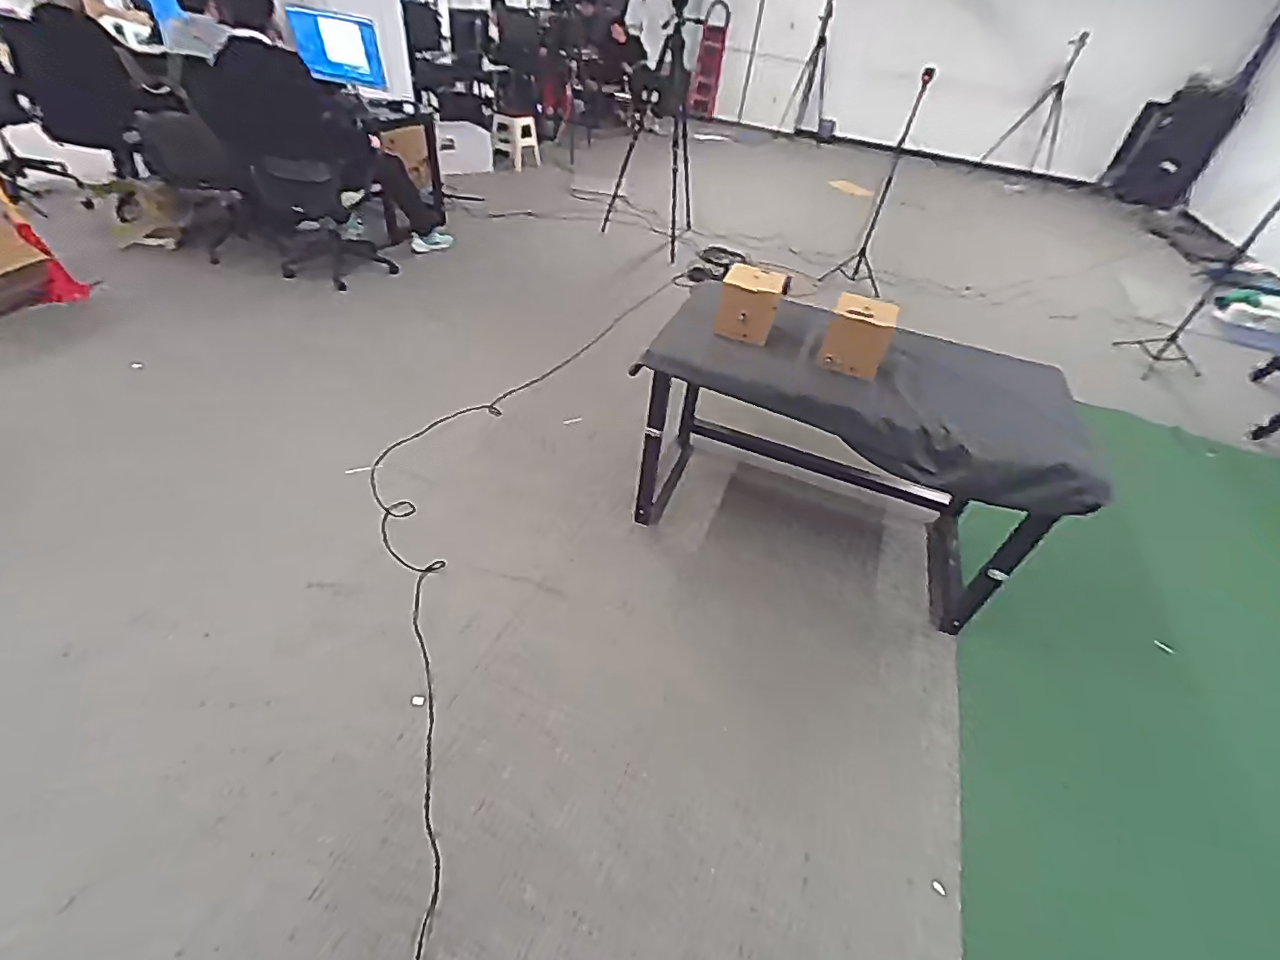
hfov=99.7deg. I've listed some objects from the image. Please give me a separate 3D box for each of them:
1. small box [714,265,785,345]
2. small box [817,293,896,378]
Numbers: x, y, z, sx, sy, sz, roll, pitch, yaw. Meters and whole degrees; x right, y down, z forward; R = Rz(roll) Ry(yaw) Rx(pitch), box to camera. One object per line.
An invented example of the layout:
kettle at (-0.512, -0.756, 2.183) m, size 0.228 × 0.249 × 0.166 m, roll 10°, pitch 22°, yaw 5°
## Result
small box at (0.337, -0.541, 1.677) m, size 0.168 × 0.176 × 0.179 m, roll 18°, pitch 44°, yaw 12°
small box at (0.633, -0.423, 1.588) m, size 0.168 × 0.176 × 0.179 m, roll 20°, pitch 42°, yaw 14°
